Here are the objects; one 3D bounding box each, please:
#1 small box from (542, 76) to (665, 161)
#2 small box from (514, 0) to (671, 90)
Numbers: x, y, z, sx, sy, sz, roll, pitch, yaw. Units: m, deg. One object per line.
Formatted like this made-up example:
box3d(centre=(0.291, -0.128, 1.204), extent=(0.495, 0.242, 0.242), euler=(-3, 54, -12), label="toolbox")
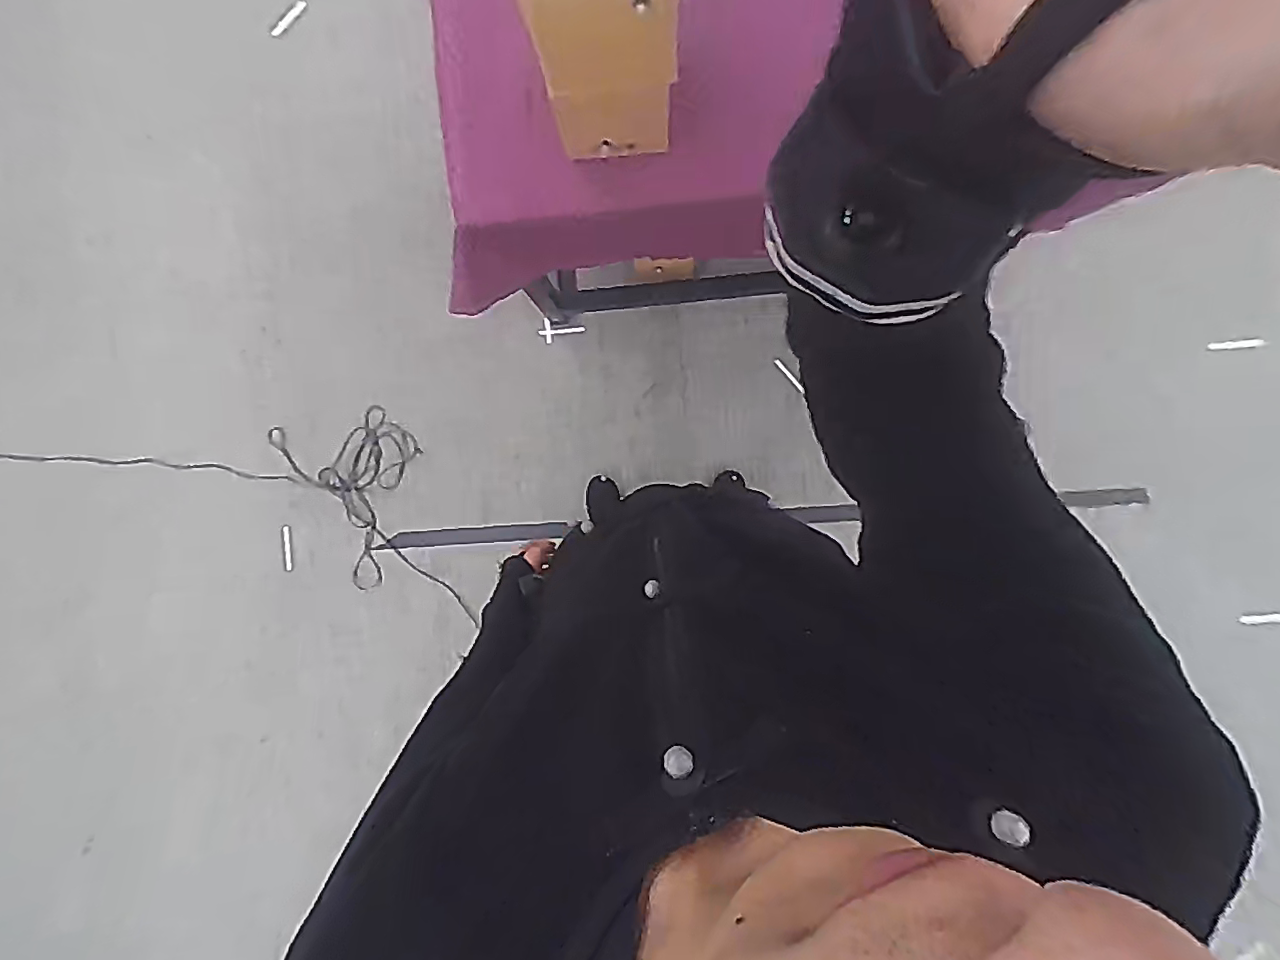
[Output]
box3d(centre=(-0.051, -0.611, 0.801), extent=(0.168, 0.176, 0.179), euler=(-4, 92, 3), label="small box")
box3d(centre=(-0.055, -0.600, 0.639), extent=(0.179, 0.176, 0.168), euler=(-3, 92, 3), label="small box")
